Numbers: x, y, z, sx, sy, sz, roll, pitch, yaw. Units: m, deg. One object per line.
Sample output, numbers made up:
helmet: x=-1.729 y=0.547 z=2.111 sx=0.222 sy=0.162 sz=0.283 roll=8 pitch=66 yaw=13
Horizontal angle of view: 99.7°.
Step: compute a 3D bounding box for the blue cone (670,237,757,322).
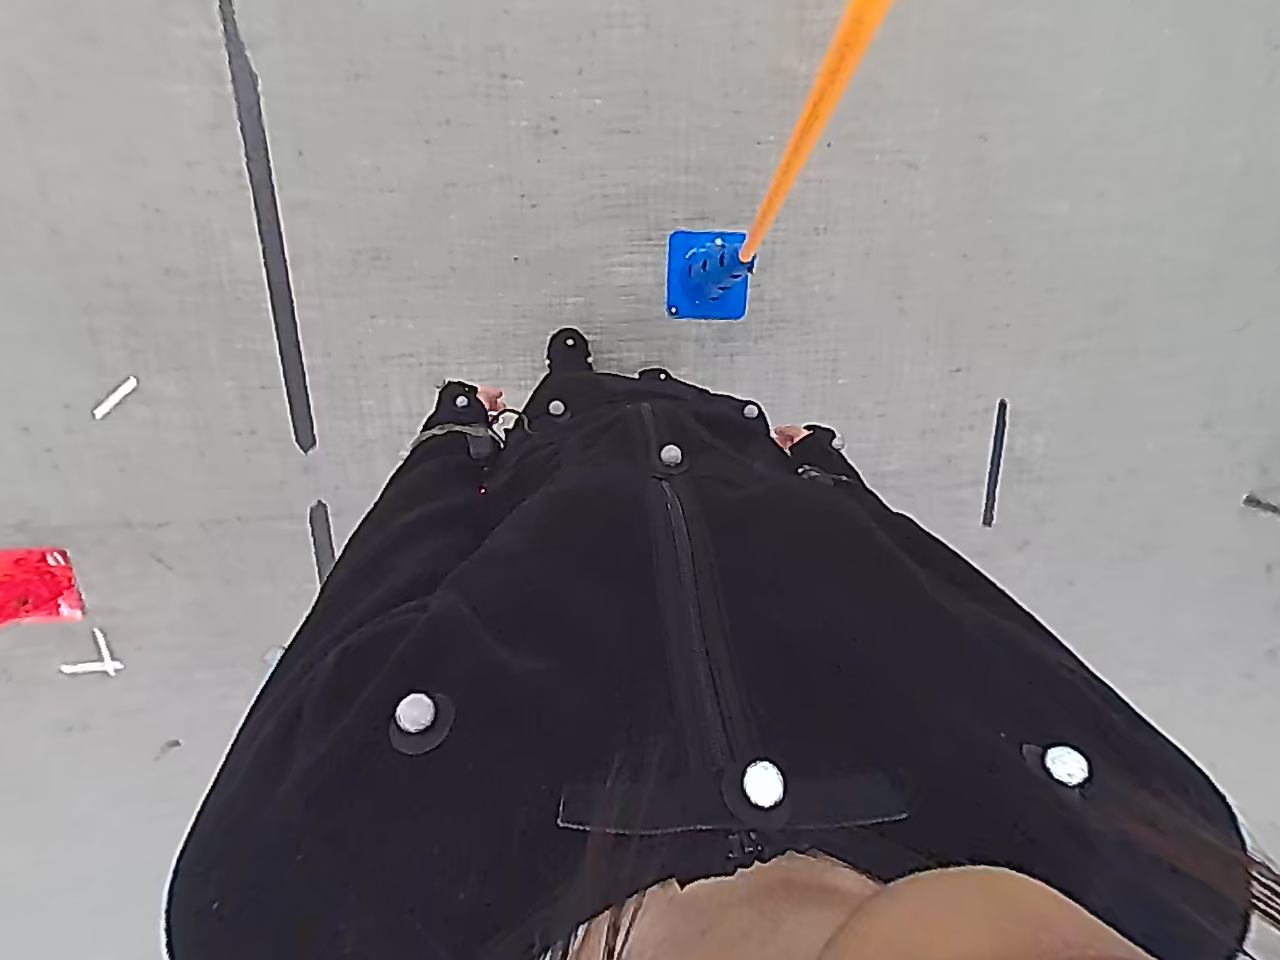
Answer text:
blue cone: x=0.182 y=-0.442 z=1.159 sx=0.193 sy=0.380 sz=0.192 roll=2 pitch=106 yaw=-5
